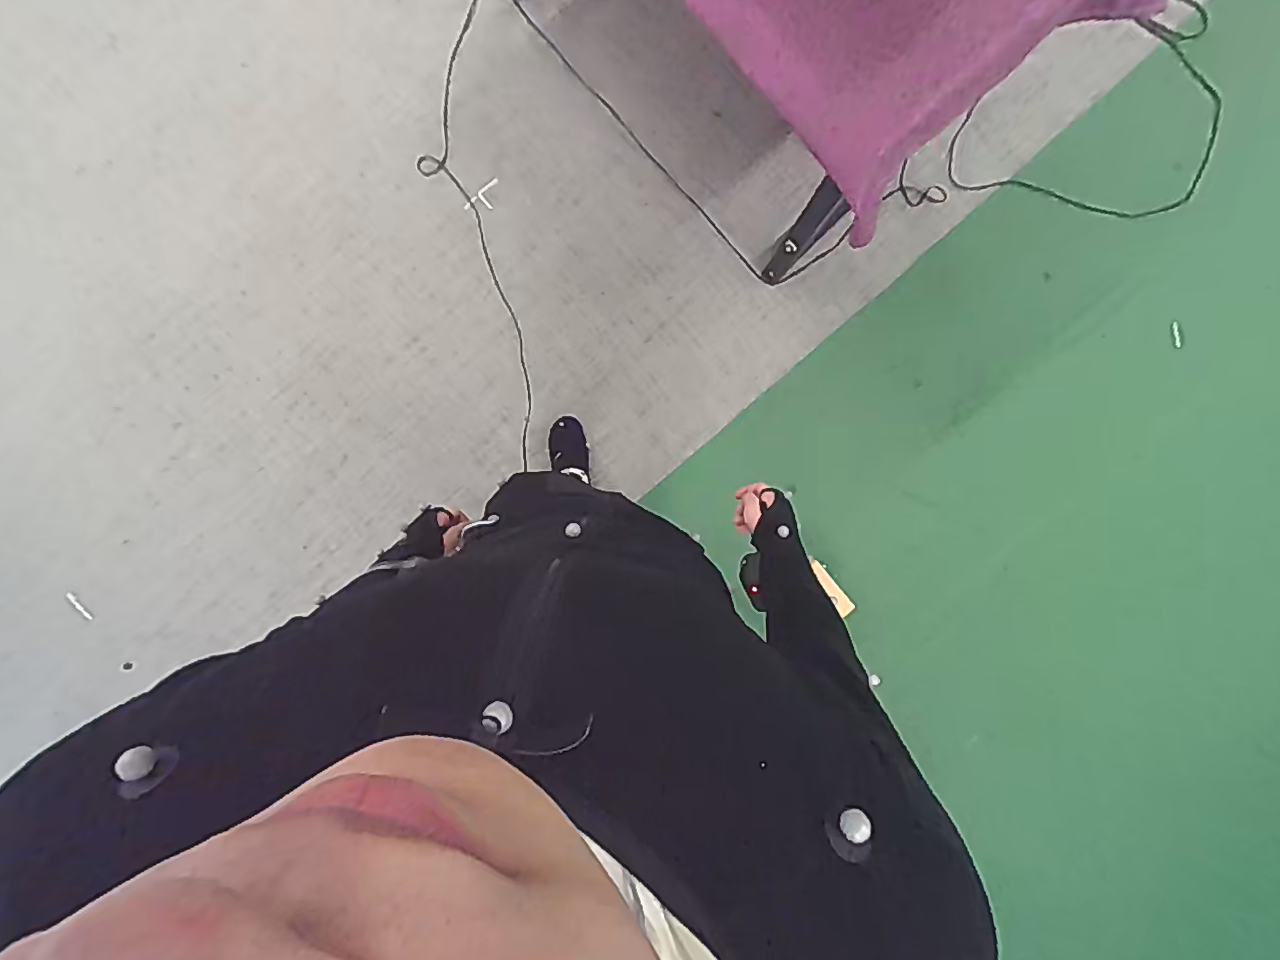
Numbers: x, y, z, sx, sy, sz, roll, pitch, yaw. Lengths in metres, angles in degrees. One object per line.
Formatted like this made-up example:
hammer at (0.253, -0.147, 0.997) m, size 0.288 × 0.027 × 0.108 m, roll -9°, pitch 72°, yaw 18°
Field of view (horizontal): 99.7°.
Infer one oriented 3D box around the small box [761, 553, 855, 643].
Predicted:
small box at (0.483, 0.335, 1.576) m, size 0.168 × 0.176 × 0.179 m, roll -41°, pitch 92°, yaw 1°
